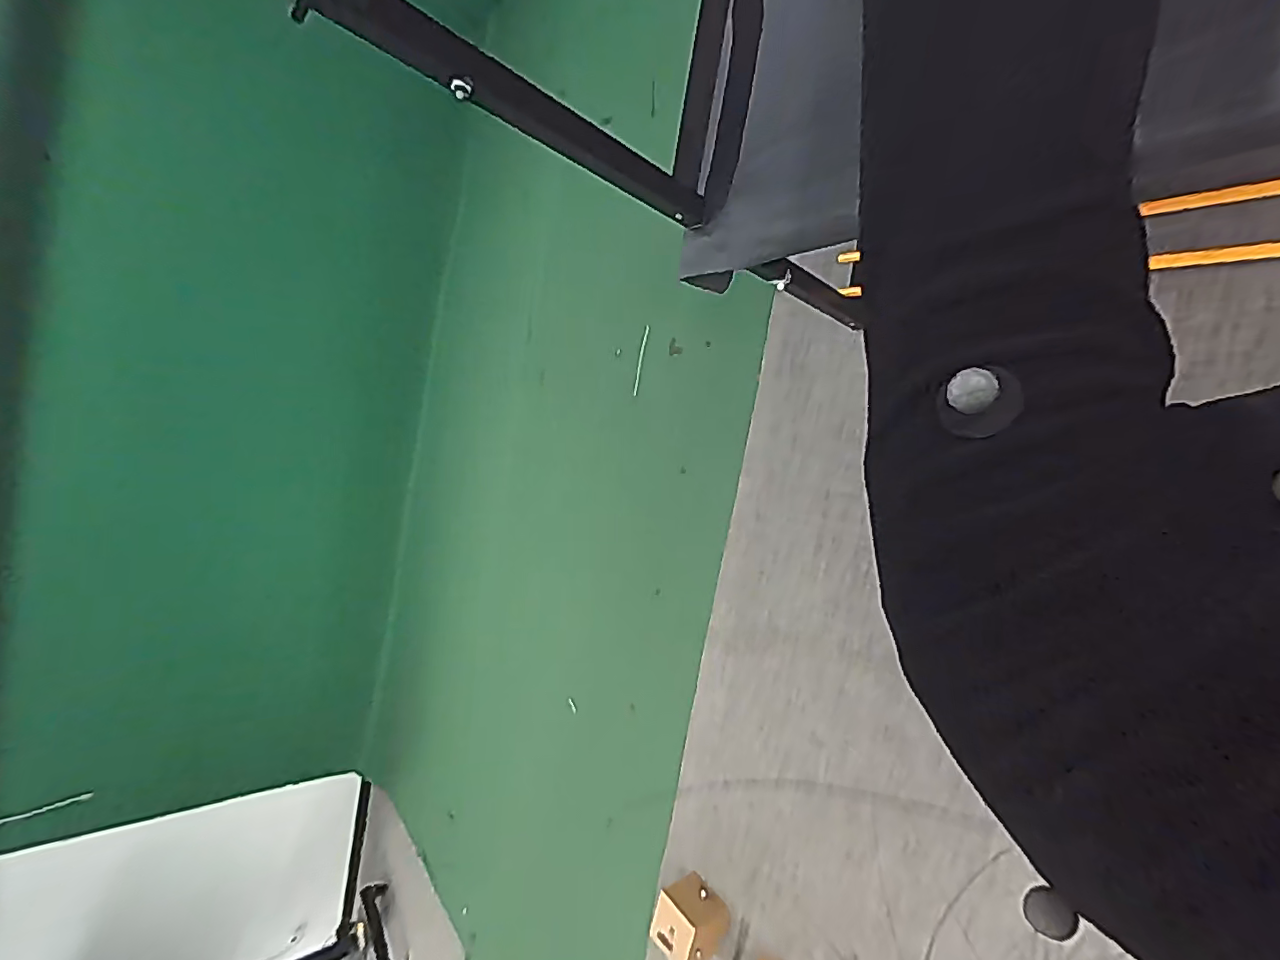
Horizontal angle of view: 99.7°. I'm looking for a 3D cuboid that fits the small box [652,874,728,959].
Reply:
[{"bbox_3d":[0.169,1.466,1.788,0.168,0.176,0.179,20,98,48],"label":"small box"}]
